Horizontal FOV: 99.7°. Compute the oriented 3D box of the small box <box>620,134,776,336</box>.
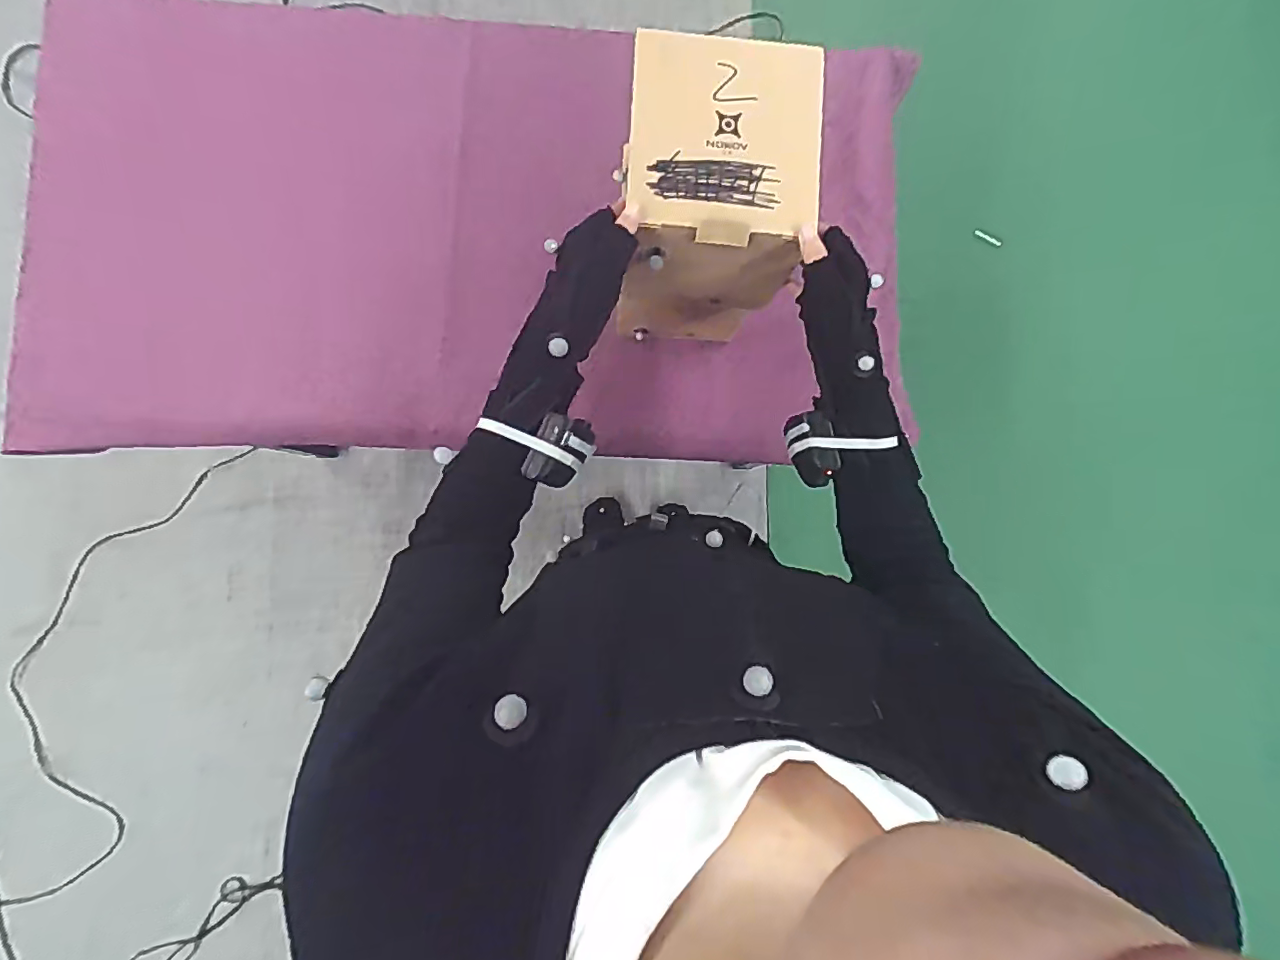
[{"bbox_3d":[0.064,-0.298,0.696,0.168,0.176,0.179,5,87,-5],"label":"small box"}]
